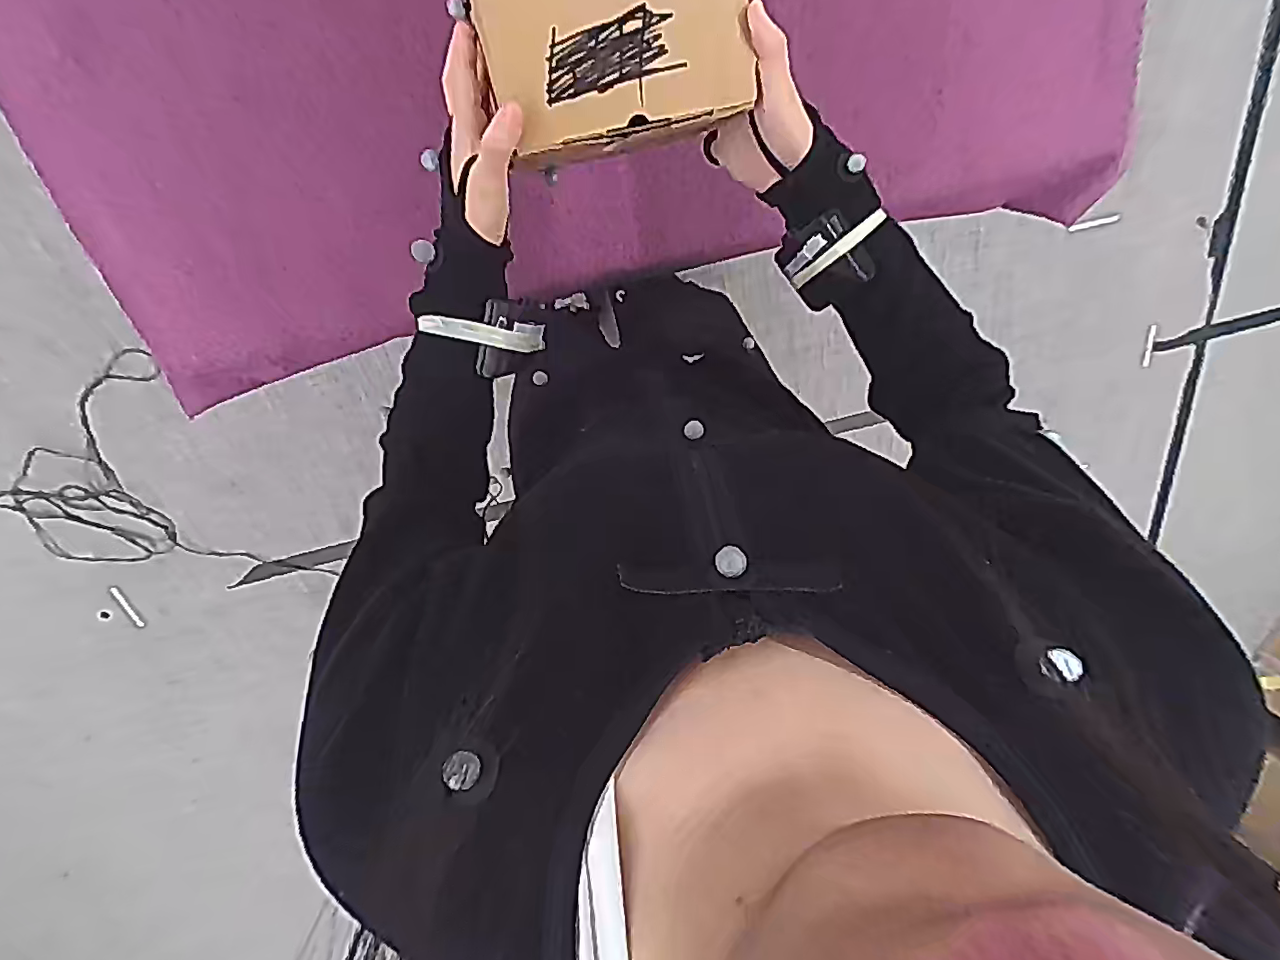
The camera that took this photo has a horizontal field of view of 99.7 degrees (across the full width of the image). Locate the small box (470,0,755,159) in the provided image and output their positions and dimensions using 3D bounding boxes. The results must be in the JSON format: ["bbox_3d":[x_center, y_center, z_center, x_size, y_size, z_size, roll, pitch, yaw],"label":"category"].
[{"bbox_3d":[-0.034,-0.341,0.380,0.168,0.176,0.179,-16,116,-7],"label":"small box"}]
